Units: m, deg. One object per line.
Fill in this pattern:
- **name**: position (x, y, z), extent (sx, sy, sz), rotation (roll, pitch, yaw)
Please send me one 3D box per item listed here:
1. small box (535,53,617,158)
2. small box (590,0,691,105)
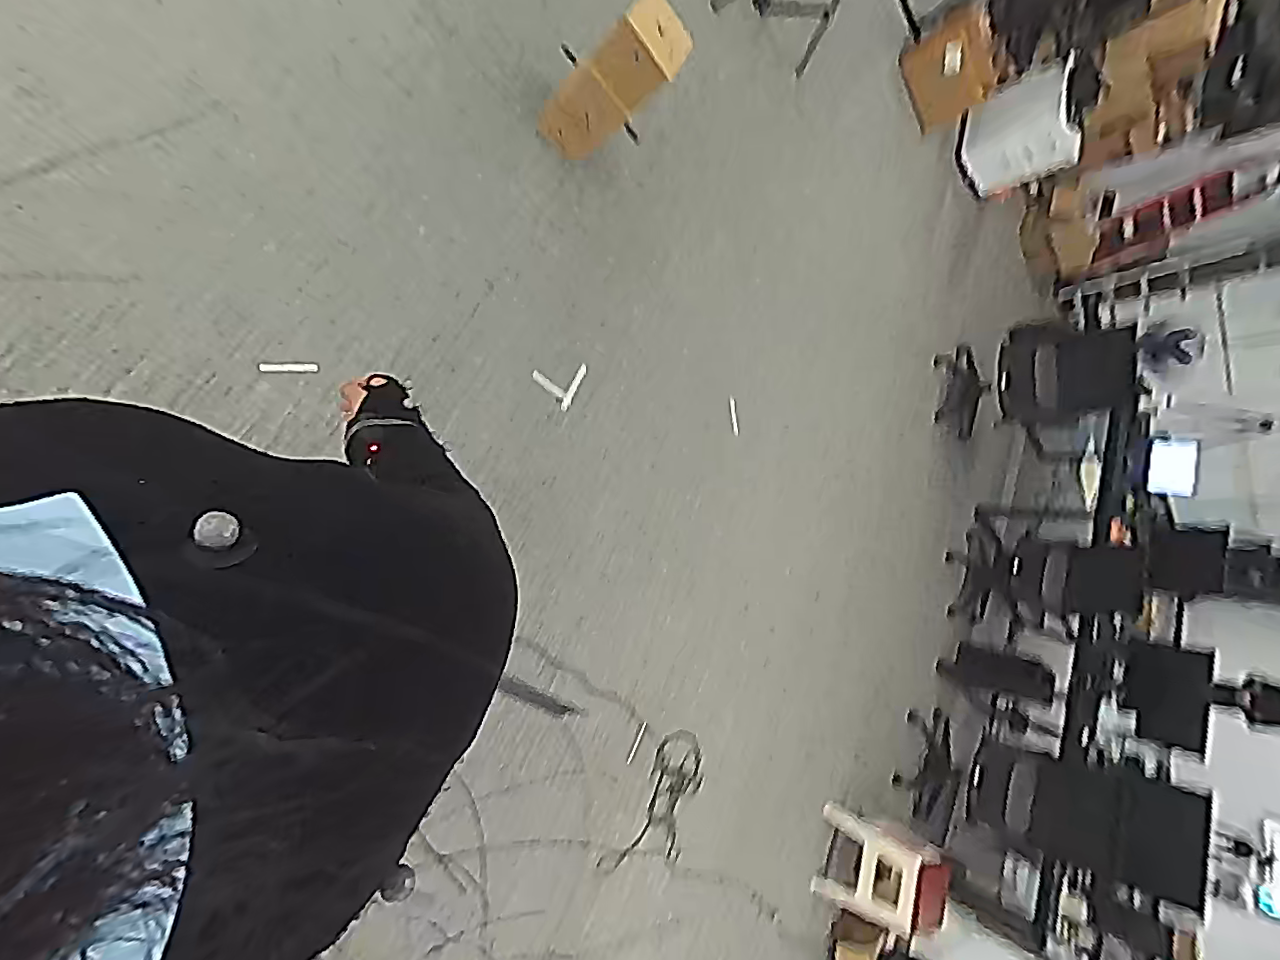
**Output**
- **small box**: position (-0.206, -1.170, 1.703), extent (0.168, 0.176, 0.179), rotation (32, 70, -34)
- **small box**: position (-0.003, -1.159, 1.443), extent (0.179, 0.176, 0.168), rotation (38, 68, -33)
